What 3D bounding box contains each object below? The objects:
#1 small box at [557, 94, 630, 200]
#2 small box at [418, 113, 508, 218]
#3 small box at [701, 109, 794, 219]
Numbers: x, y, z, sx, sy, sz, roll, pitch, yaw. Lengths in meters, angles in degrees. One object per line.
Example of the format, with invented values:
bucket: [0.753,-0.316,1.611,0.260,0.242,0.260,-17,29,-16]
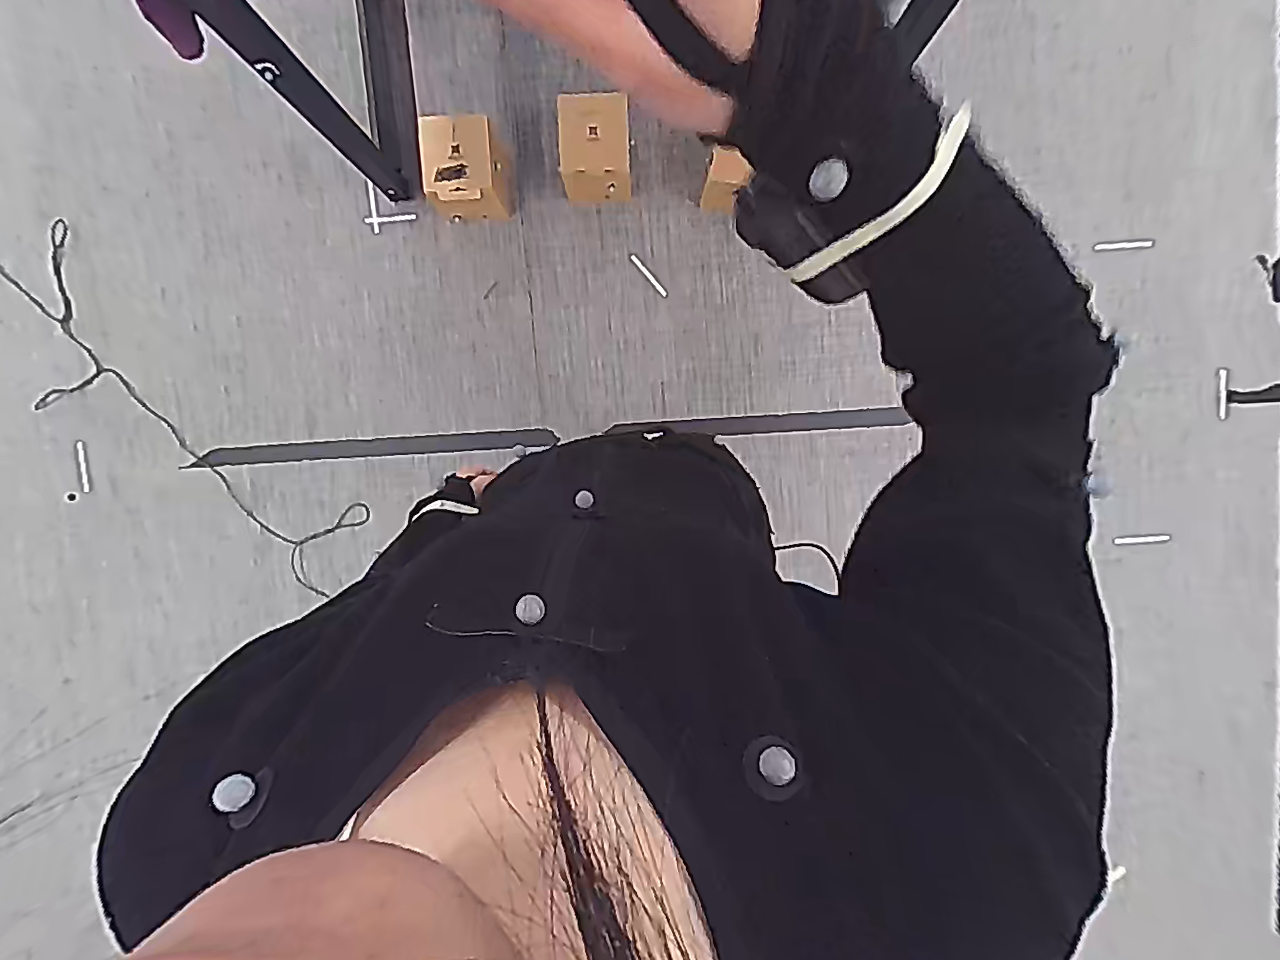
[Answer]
small box: [-0.111,-0.816,1.344,0.168,0.176,0.179,-3,93,-1]
small box: [-0.432,-0.770,1.343,0.168,0.176,0.179,-3,93,0]
small box: [0.260,-0.777,1.349,0.179,0.176,0.168,13,95,0]
